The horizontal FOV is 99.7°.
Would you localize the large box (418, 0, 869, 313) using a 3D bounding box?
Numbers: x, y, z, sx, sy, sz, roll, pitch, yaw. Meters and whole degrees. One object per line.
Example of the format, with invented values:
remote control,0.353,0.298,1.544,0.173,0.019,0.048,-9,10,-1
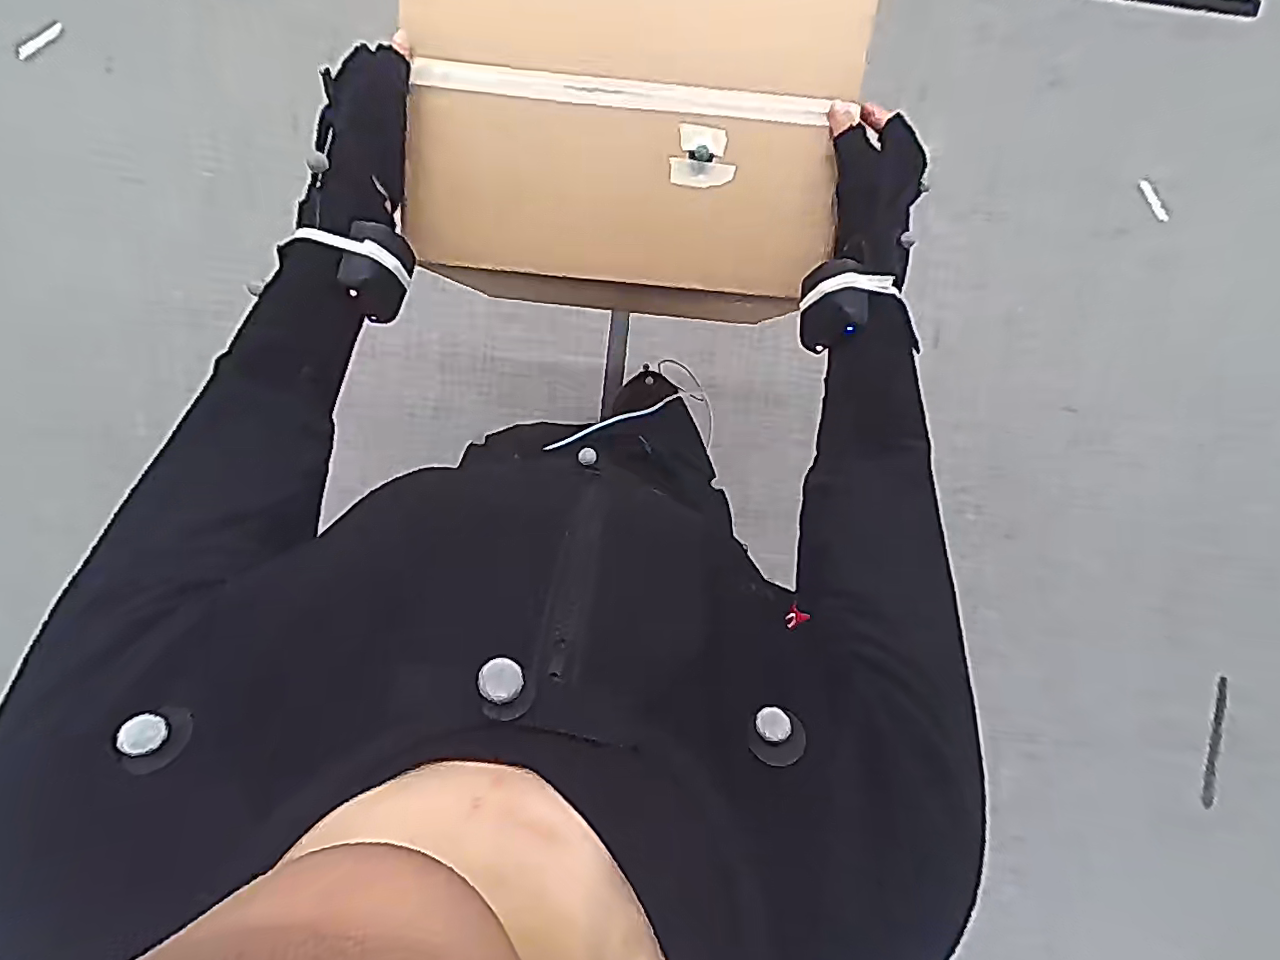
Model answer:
large box,-0.006,-0.383,0.635,0.408,0.320,0.320,5,103,-2
